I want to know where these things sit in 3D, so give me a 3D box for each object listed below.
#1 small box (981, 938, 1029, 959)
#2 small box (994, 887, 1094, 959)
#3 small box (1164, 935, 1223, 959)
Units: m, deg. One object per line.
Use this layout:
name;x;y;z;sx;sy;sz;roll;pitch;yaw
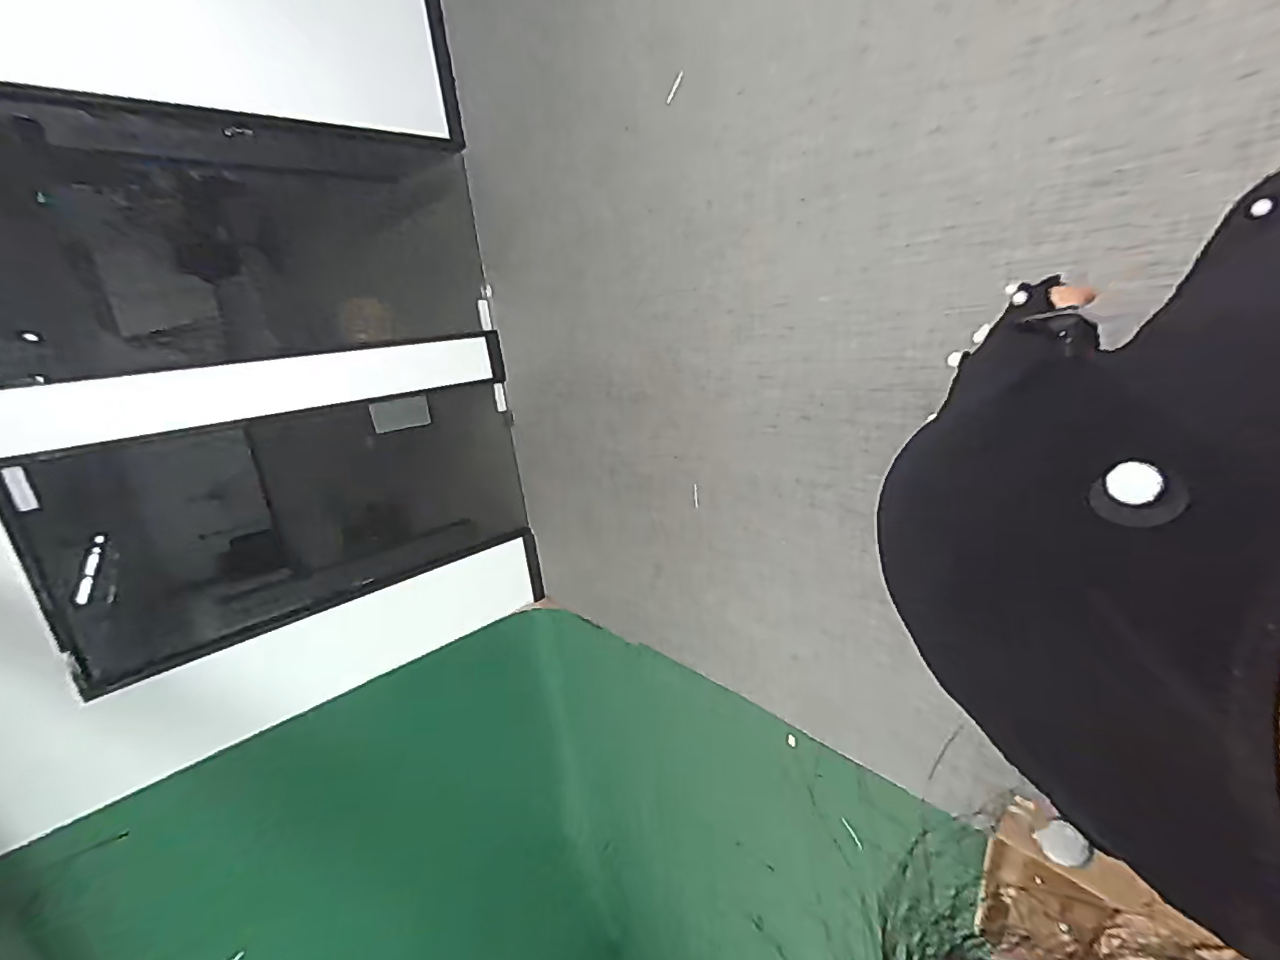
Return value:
small box;0.826;1.179;1.181;0.168;0.176;0.179;13;115;46
small box;0.949;1.139;1.284;0.168;0.176;0.179;16;115;45
small box;1.258;1.180;1.190;0.168;0.176;0.179;10;111;50
